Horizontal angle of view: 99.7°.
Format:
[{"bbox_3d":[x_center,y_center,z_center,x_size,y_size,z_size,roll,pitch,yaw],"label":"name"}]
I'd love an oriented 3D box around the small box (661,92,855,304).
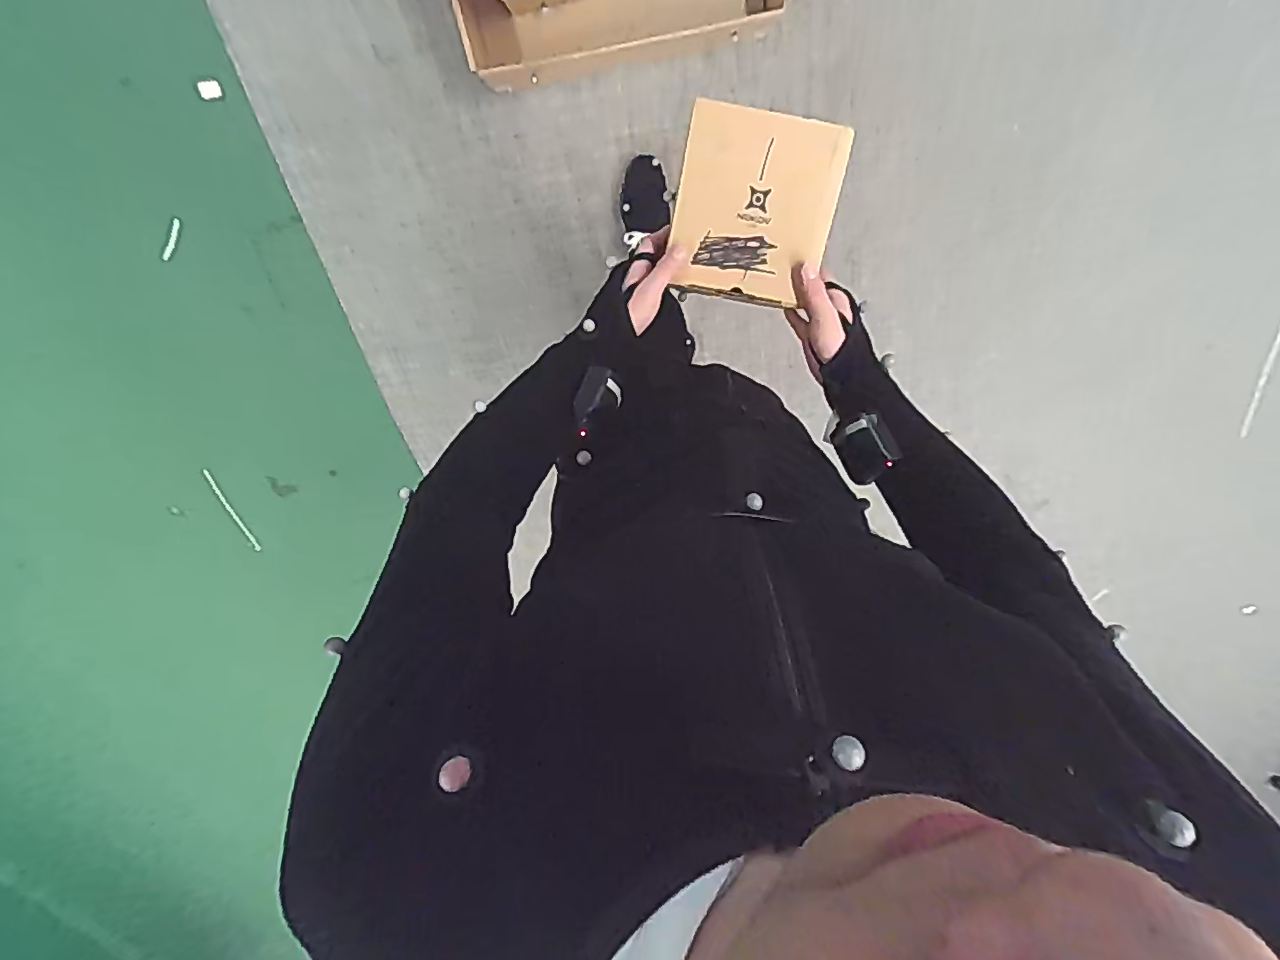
[{"bbox_3d":[0.122,-0.311,0.634,0.168,0.176,0.179,10,107,-2],"label":"small box"}]
